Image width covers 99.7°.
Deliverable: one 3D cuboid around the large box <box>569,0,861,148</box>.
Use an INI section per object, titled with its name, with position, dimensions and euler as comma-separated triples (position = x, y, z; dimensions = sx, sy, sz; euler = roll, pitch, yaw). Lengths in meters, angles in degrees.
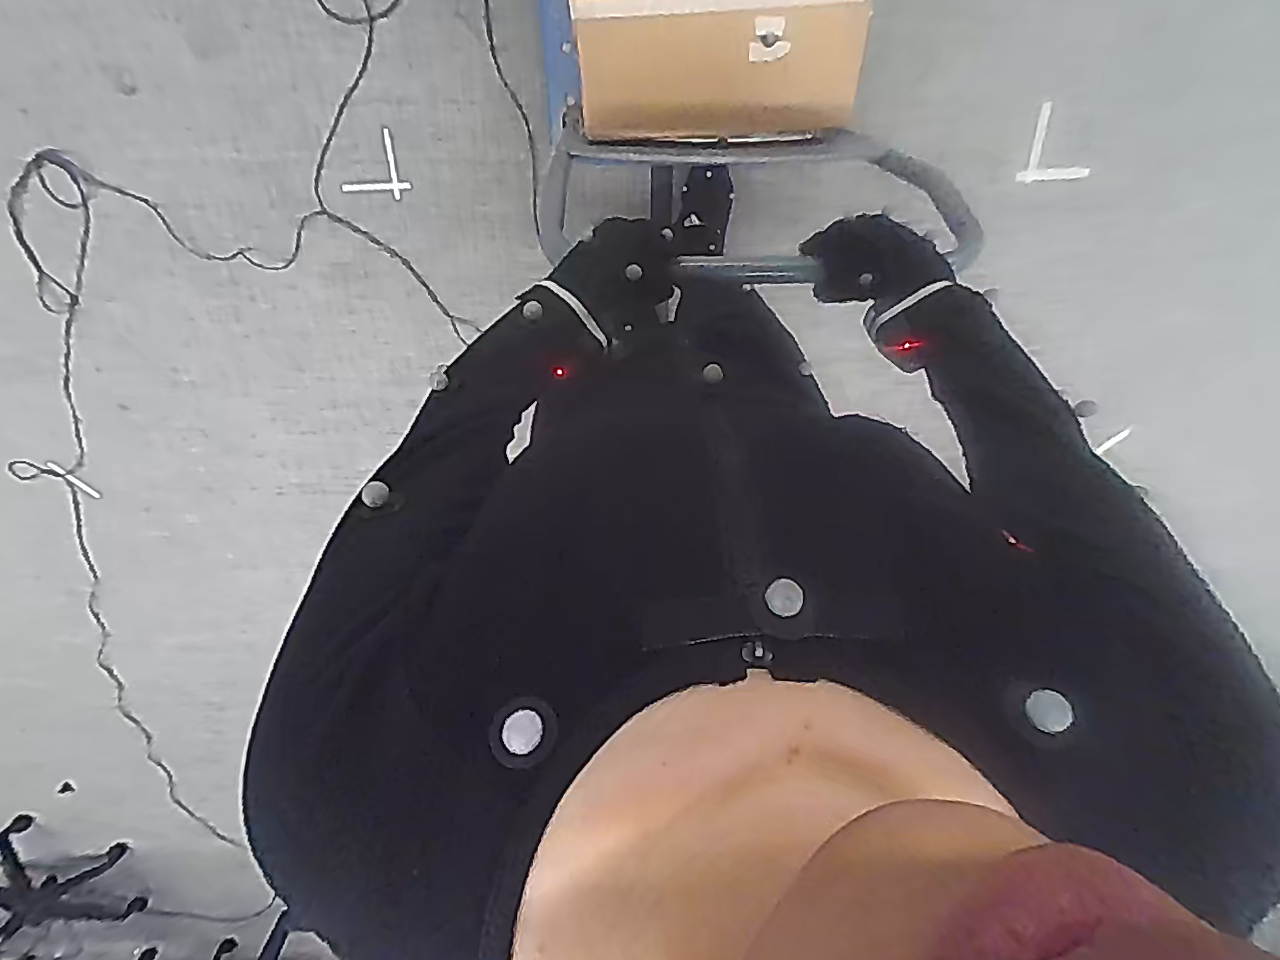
[large box]
position = 0.094, -0.732, 0.848
dimensions = 0.408, 0.320, 0.320
euler = -4, 128, -1
